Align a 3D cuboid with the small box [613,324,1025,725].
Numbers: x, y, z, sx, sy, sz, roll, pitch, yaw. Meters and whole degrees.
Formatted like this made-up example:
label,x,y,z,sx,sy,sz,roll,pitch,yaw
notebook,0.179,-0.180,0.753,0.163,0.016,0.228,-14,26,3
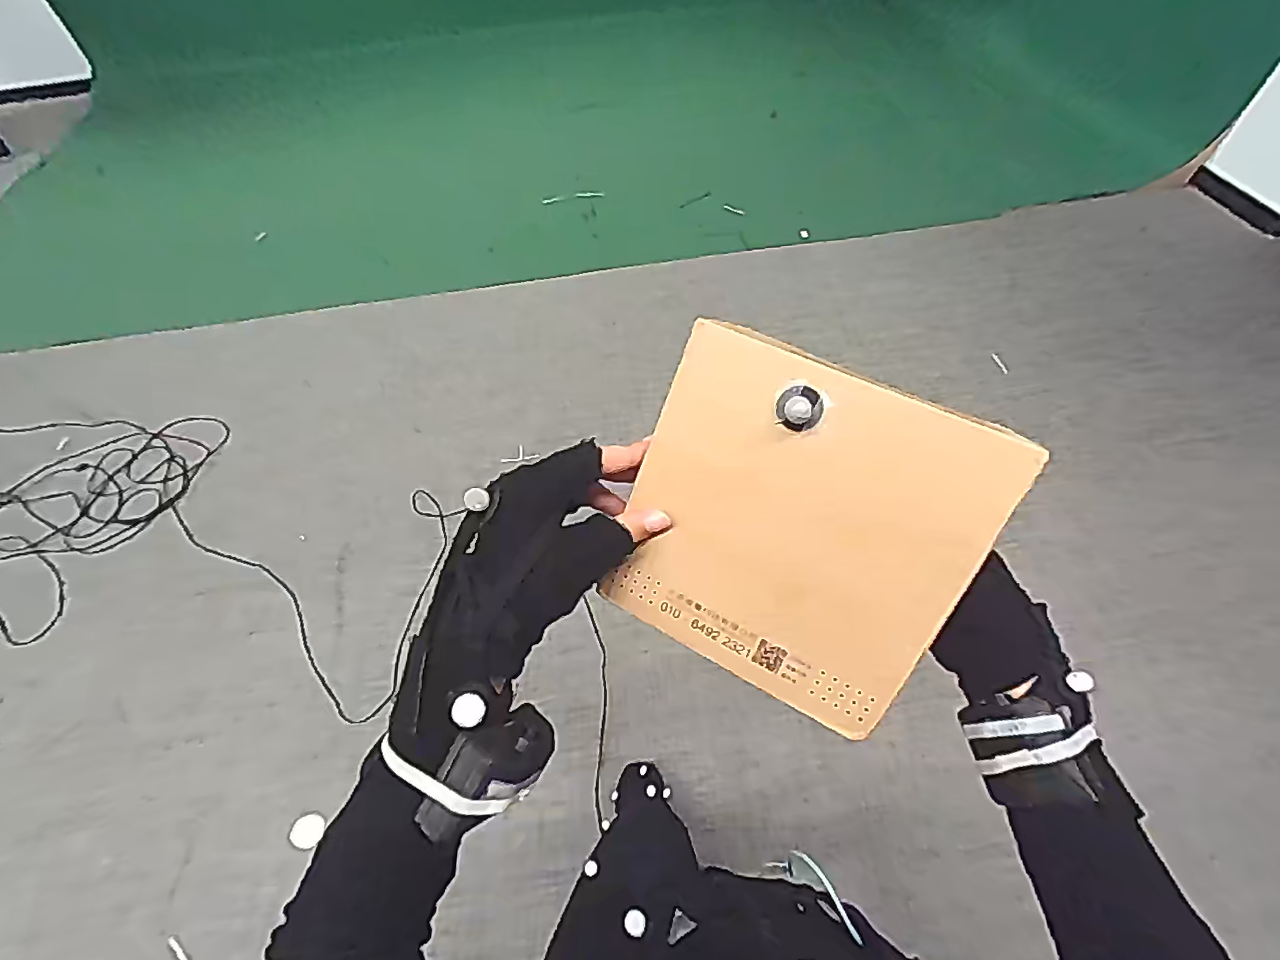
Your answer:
label,x,y,z,sx,sy,sz,roll,pitch,yaw
small box,0.103,0.014,0.357,0.168,0.176,0.179,26,19,17
